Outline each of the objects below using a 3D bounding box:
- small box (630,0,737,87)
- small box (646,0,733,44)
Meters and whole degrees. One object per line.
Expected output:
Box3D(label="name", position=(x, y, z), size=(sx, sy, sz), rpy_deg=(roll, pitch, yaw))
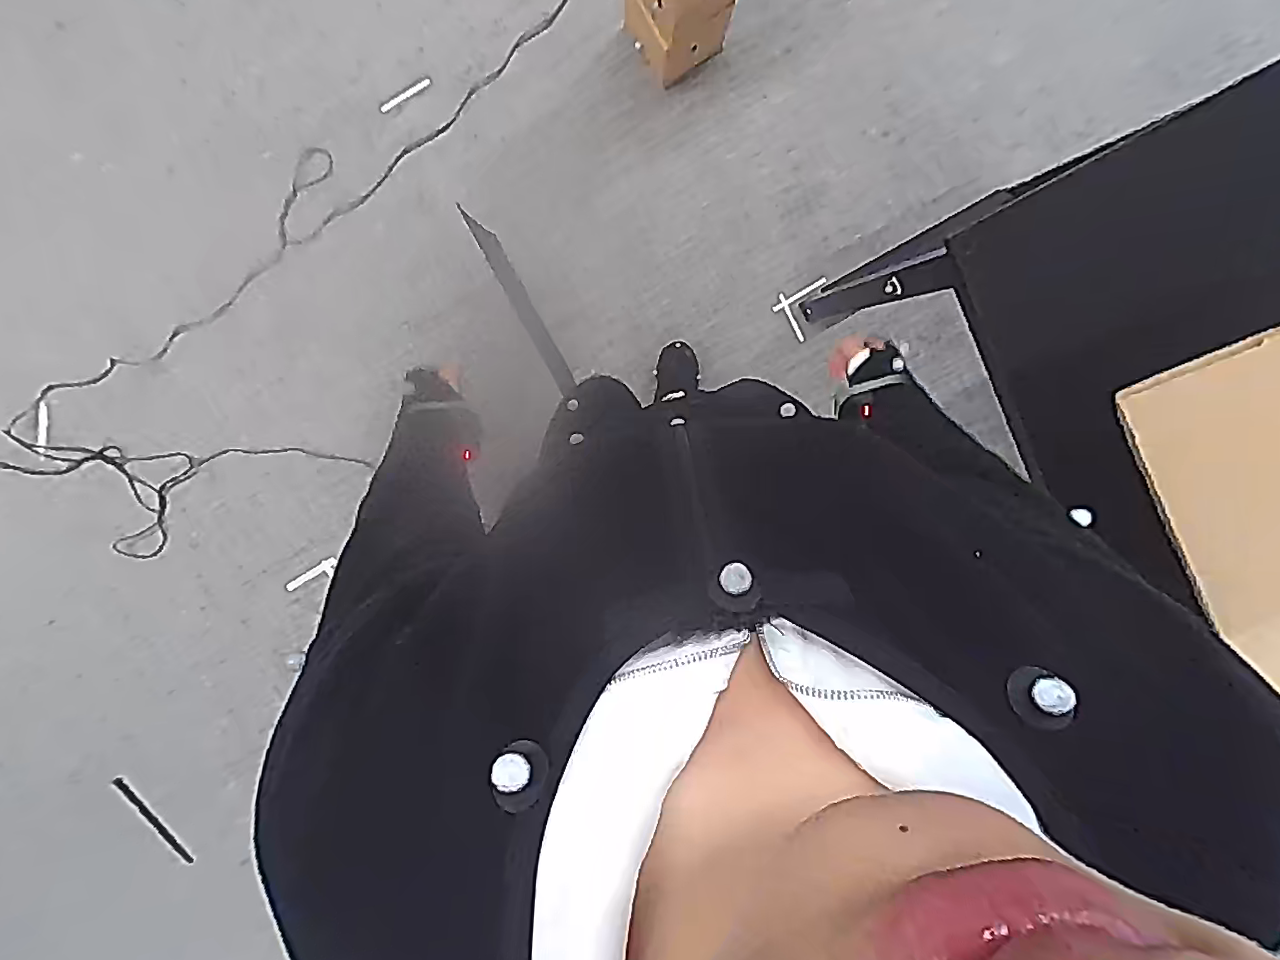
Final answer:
Box3D(label="small box", position=(0.087, -1.031, 1.196), size=(0.179, 0.176, 0.168), rpy_deg=(-31, 100, 7))
Box3D(label="small box", position=(0.093, -1.002, 1.037), size=(0.179, 0.176, 0.168), rpy_deg=(-35, 101, 5))
